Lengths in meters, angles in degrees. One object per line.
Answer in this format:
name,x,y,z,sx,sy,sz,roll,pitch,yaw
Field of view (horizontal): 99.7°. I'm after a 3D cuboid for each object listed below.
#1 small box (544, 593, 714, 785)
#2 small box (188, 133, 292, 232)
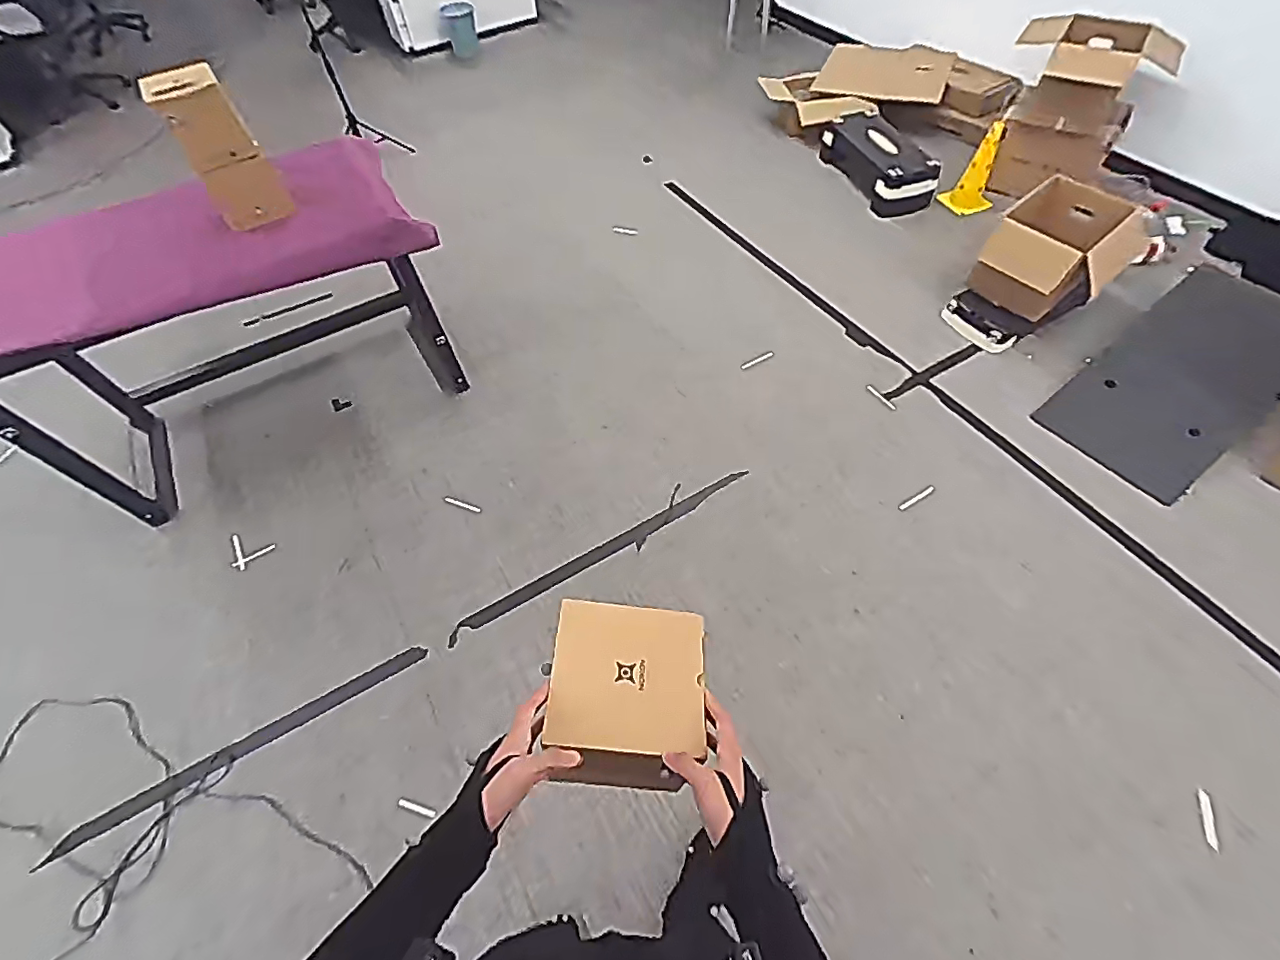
small box,-0.017,0.257,0.654,0.179,0.176,0.168,8,49,-5
small box,-1.130,-0.846,1.543,0.179,0.176,0.168,-30,60,-16
